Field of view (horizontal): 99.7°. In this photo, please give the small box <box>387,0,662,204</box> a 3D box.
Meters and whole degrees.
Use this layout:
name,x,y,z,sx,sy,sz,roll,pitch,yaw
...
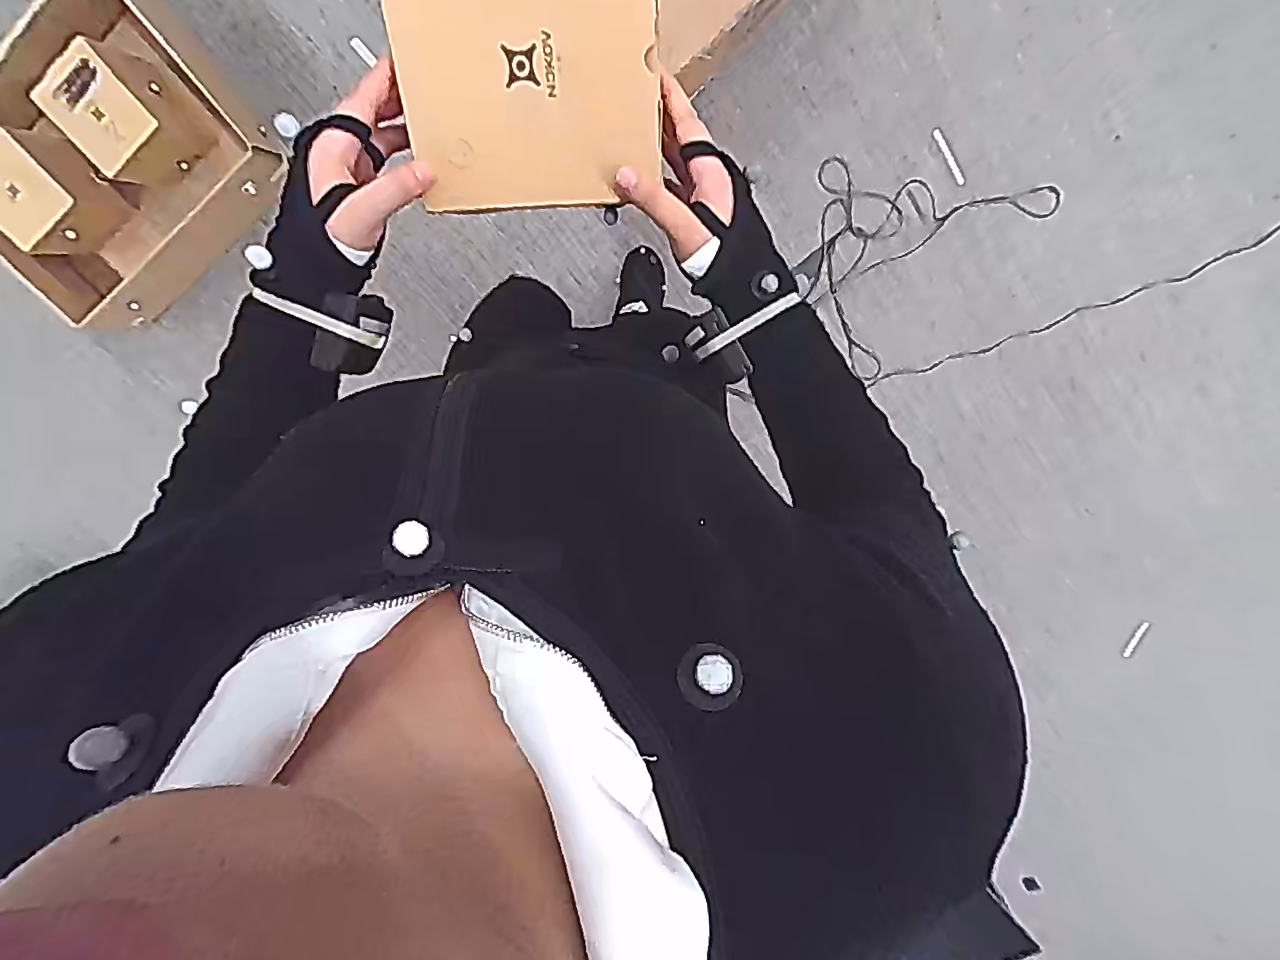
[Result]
name,x,y,z,sx,sy,sz,roll,pitch,yaw
small box,-0.077,-0.317,0.432,0.179,0.176,0.168,-4,117,-1

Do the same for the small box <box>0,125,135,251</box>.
name,x,y,z,sx,sy,sz,roll,pitch,yaw
small box,-1.268,-0.615,1.166,0.179,0.176,0.168,-34,111,11
